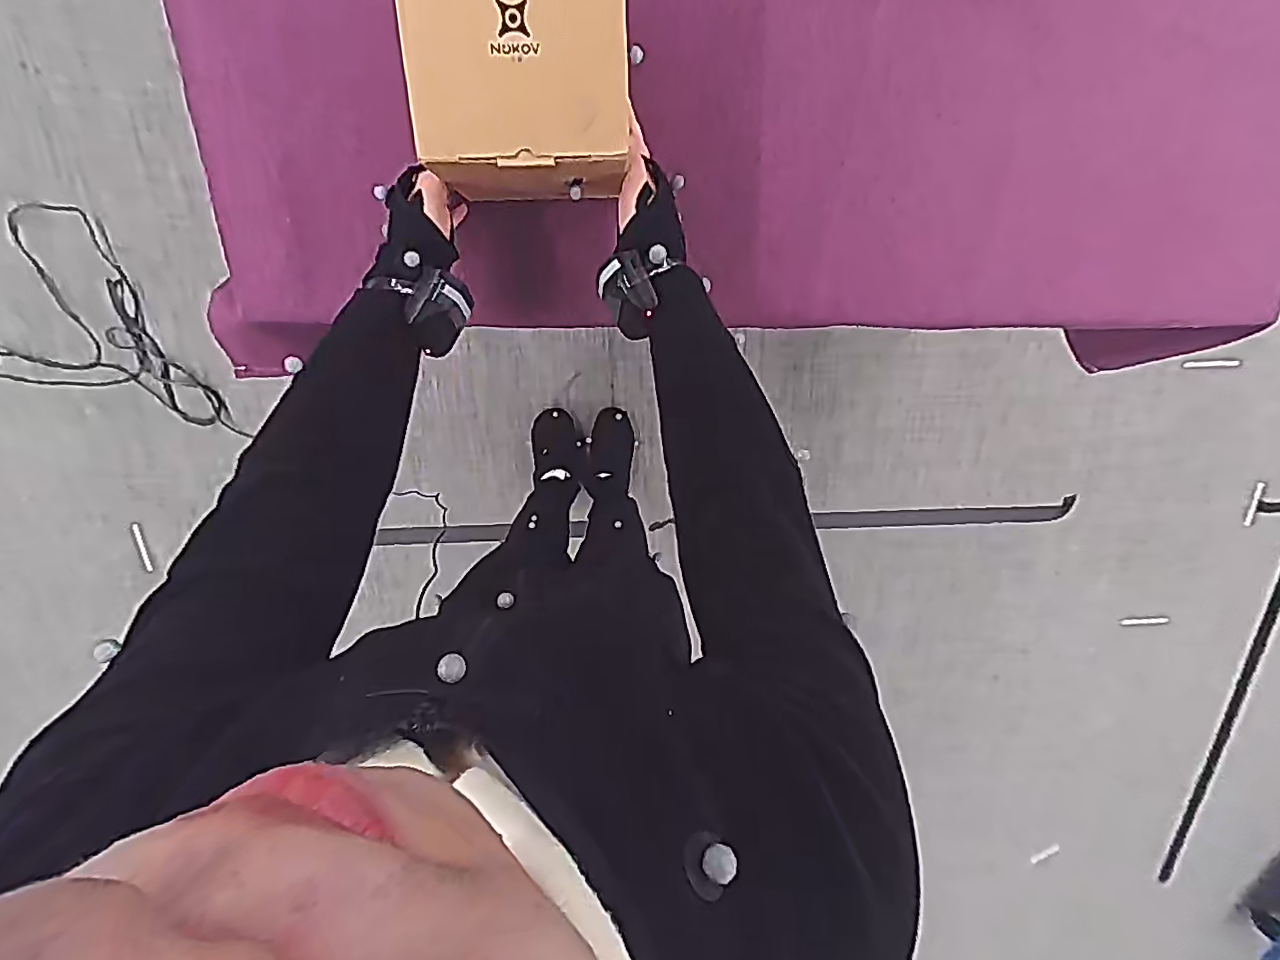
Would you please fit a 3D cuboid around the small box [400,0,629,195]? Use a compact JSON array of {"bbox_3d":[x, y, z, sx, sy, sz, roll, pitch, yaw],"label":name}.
[{"bbox_3d":[-0.094,-0.354,0.467,0.168,0.176,0.179,-2,108,-4],"label":"small box"}]
